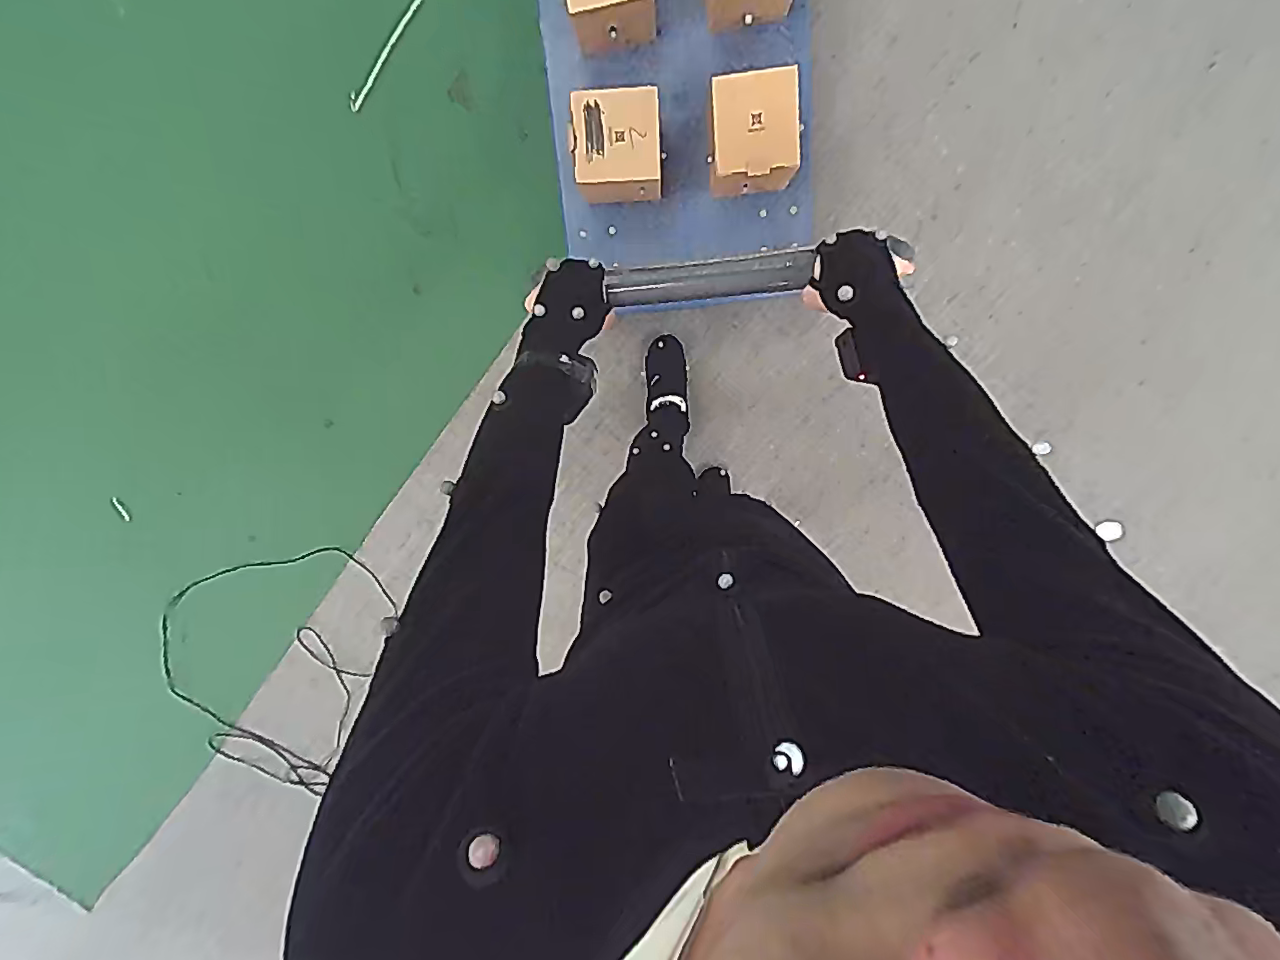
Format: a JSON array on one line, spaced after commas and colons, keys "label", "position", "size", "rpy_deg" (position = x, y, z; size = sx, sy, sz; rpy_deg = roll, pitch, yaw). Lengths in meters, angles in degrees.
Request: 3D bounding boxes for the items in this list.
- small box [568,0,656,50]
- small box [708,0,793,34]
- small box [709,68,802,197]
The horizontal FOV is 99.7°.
[{"label": "small box", "position": [-0.060, -0.994, 1.071], "size": [0.168, 0.176, 0.179], "rpy_deg": [-8, 104, 5]}, {"label": "small box", "position": [0.214, -1.022, 1.048], "size": [0.168, 0.176, 0.179], "rpy_deg": [-8, 105, 6]}, {"label": "small box", "position": [0.235, -0.715, 1.130], "size": [0.168, 0.176, 0.179], "rpy_deg": [-5, 105, 4]}]
